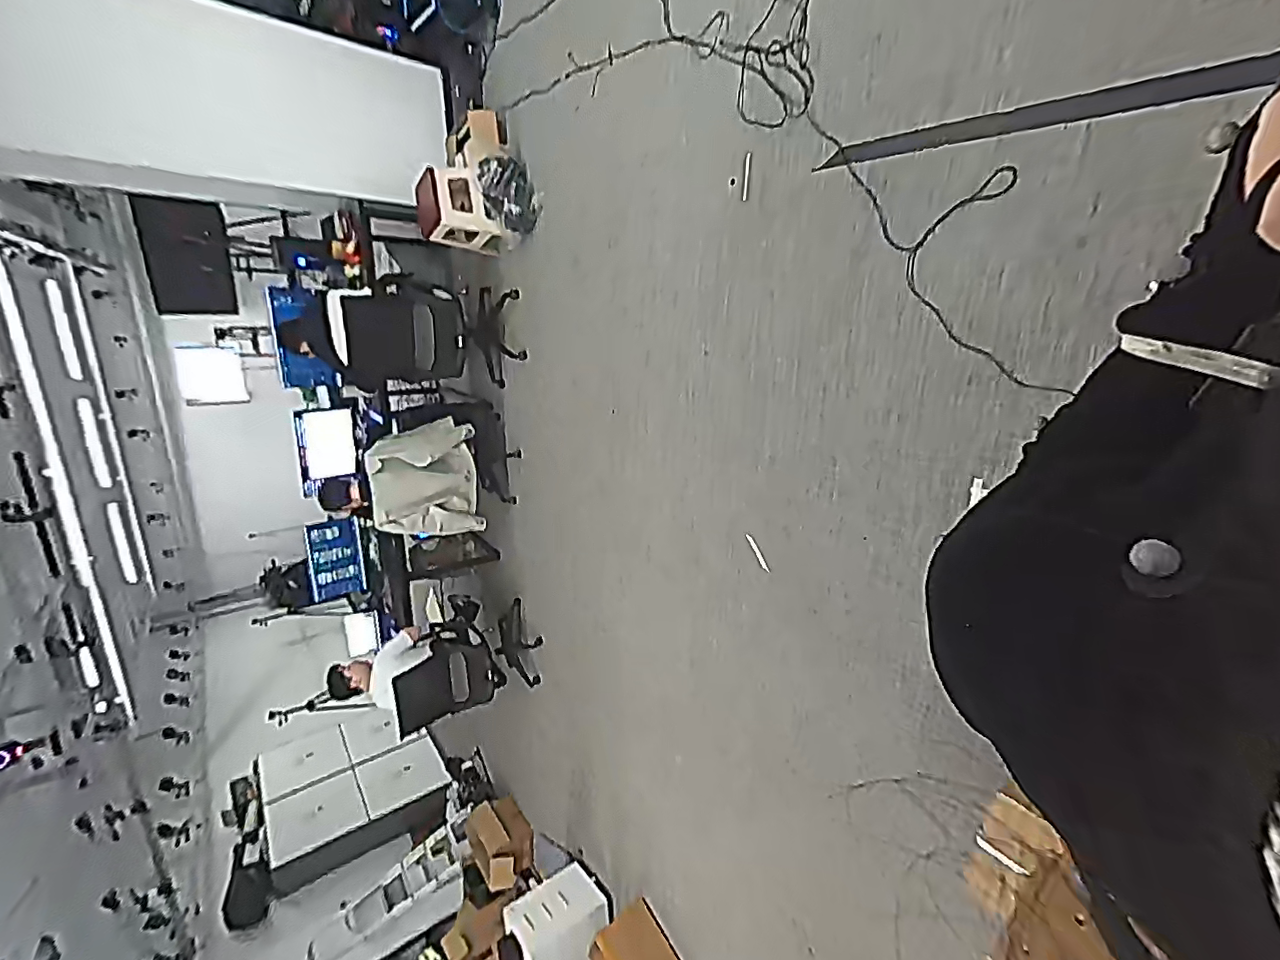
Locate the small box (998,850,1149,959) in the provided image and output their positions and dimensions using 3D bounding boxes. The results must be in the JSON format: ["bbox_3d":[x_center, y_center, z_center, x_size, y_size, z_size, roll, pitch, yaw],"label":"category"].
[{"bbox_3d":[0.842,0.880,1.051,0.179,0.176,0.168,22,116,50],"label":"small box"}]
